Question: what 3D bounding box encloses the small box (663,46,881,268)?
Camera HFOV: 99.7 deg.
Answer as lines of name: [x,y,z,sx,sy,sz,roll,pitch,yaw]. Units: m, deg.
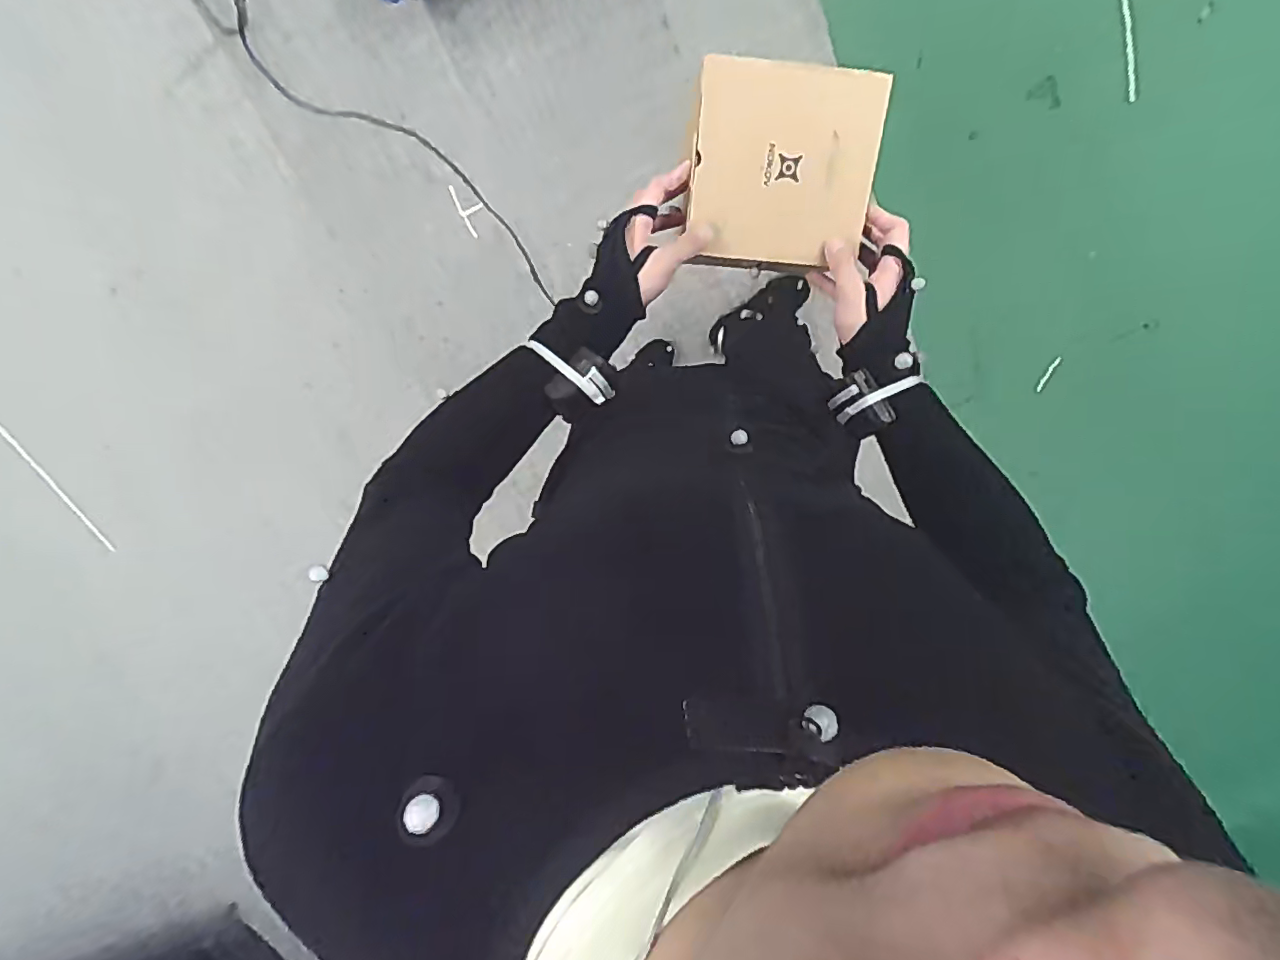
small box: [0.121,-0.323,0.578,0.179,0.176,0.168,3,108,-4]
